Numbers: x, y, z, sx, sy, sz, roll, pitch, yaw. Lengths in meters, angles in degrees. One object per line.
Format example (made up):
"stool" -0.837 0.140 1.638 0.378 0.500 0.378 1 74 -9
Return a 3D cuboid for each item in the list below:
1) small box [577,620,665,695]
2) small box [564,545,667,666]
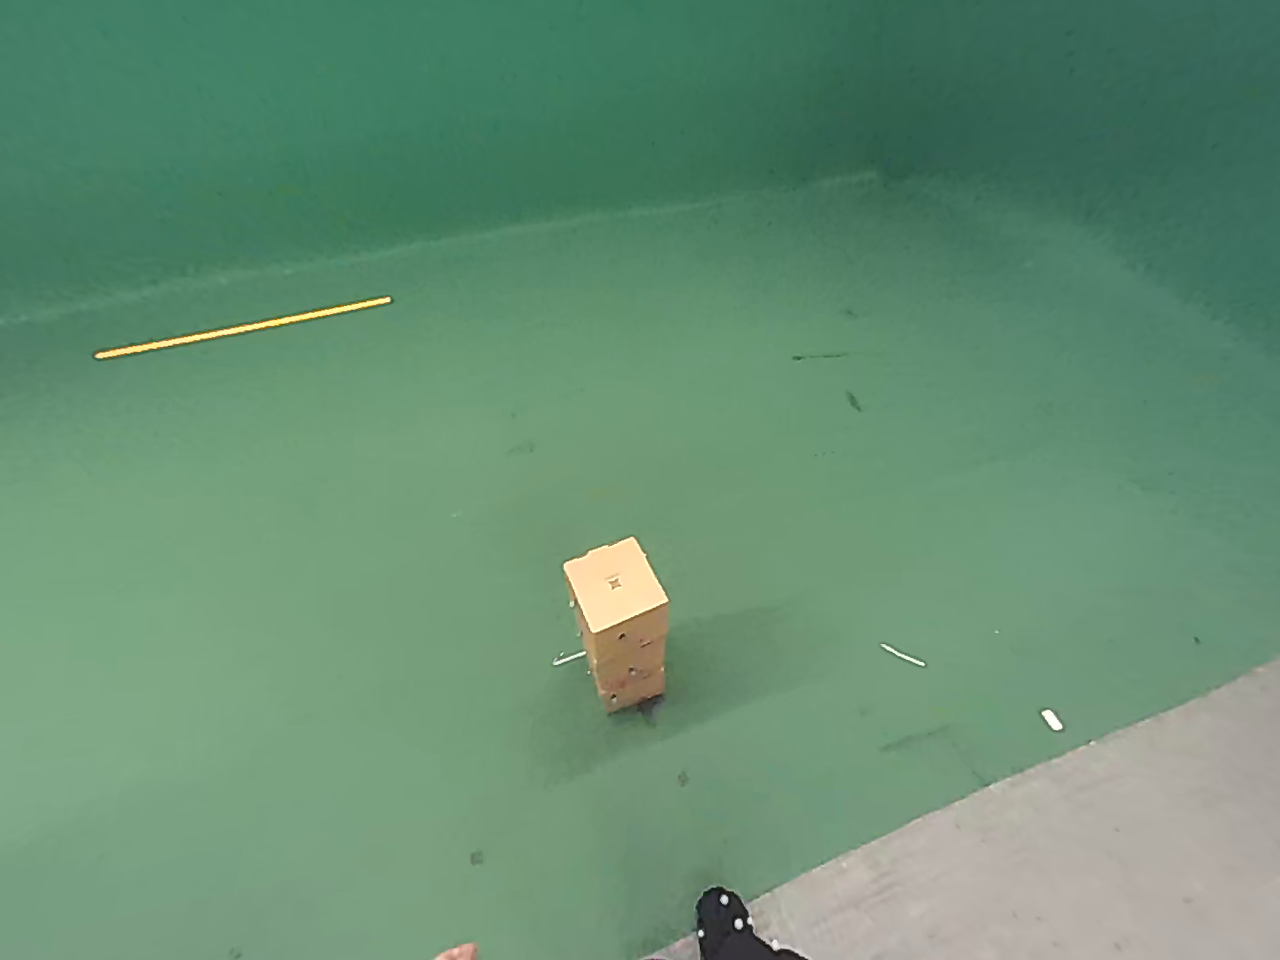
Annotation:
"small box" -0.049 0.381 1.292 0.168 0.176 0.179 -18 52 -13
"small box" -0.050 0.278 1.166 0.168 0.176 0.179 -20 52 -15
